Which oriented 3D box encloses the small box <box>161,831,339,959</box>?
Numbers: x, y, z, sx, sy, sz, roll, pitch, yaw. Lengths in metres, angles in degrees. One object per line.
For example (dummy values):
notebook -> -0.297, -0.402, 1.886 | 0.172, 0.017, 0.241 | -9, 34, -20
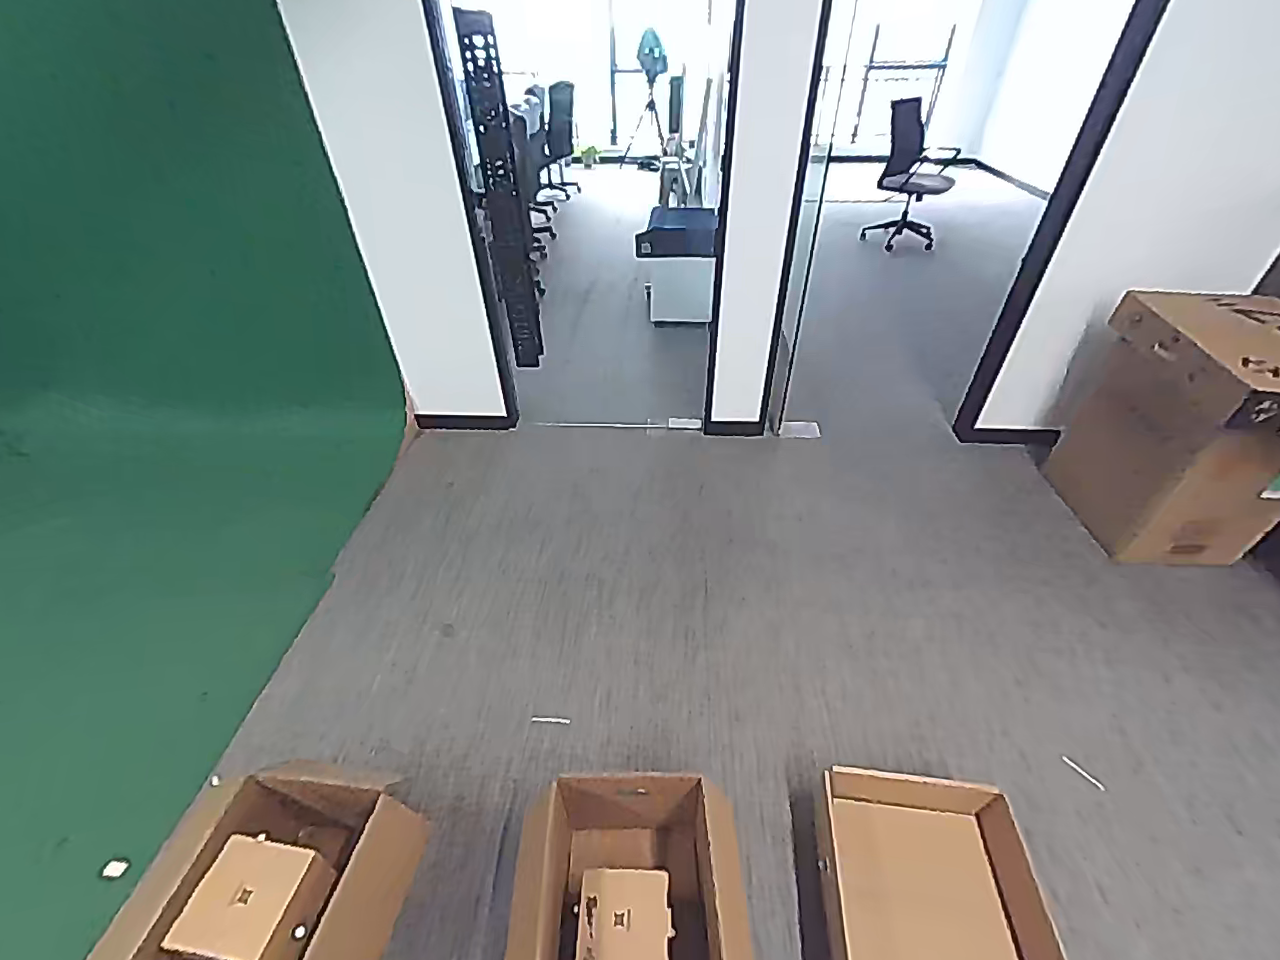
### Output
small box -> -0.698, 0.781, 0.996 | 0.179, 0.176, 0.168 | 6, 39, 6
